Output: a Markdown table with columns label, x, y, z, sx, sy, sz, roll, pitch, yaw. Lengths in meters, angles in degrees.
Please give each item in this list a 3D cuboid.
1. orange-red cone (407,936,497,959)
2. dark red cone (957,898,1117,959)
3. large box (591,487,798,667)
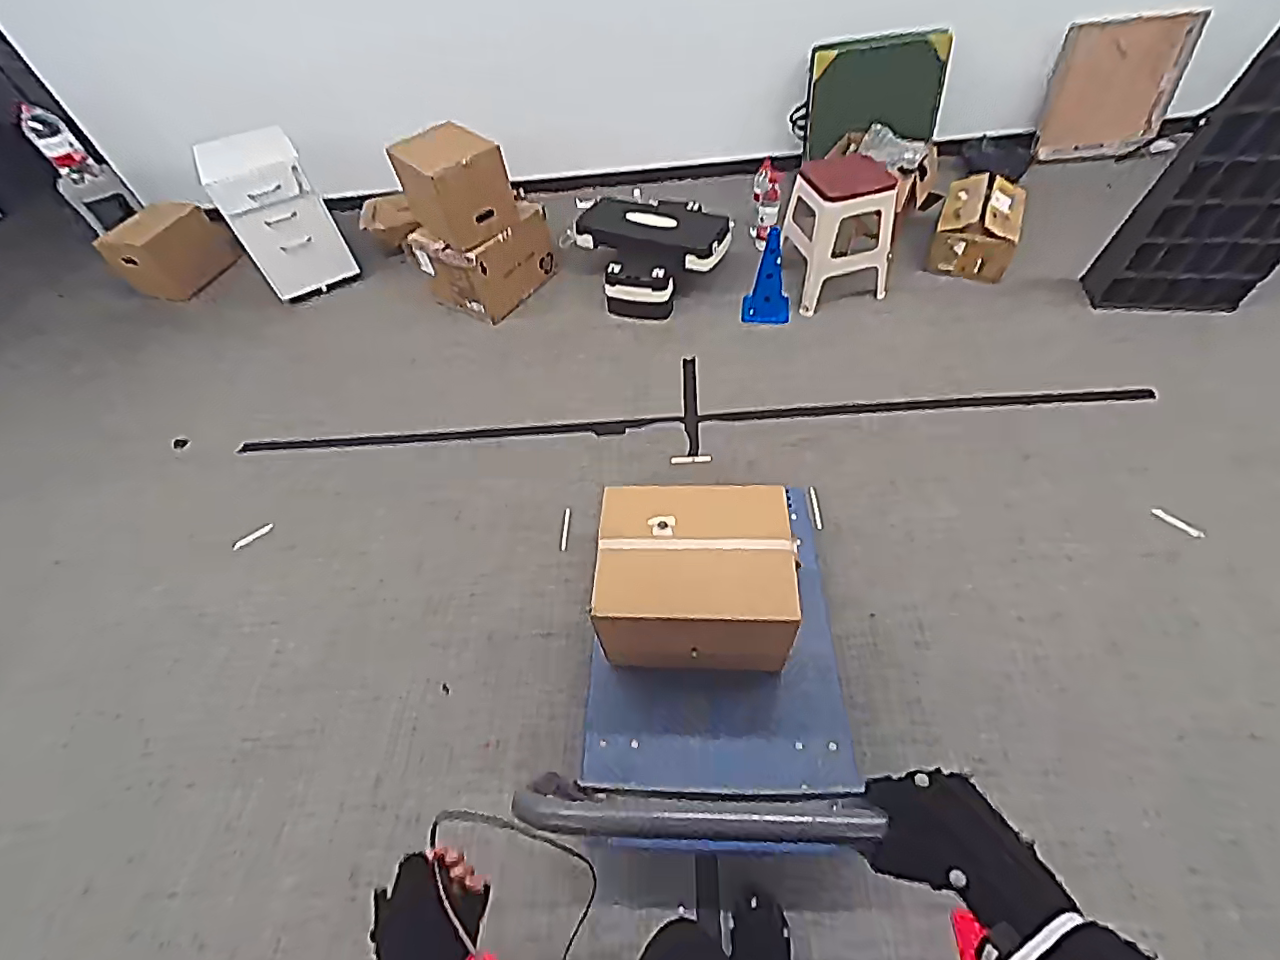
| label | x | y | z | sx | sy | sz | roll | pitch | yaw |
| --- | --- | --- | --- | --- | --- | --- | --- | --- | --- |
| orange-red cone | -0.412 | 0.949 | 0.947 | 0.198 | 0.360 | 0.199 | 4 | 52 | 9 |
| dark red cone | 0.713 | 0.817 | 0.885 | 0.201 | 0.394 | 0.202 | -1 | 53 | 4 |
| large box | 0.123 | 0.232 | 1.243 | 0.408 | 0.320 | 0.320 | -1 | 54 | 7 |
